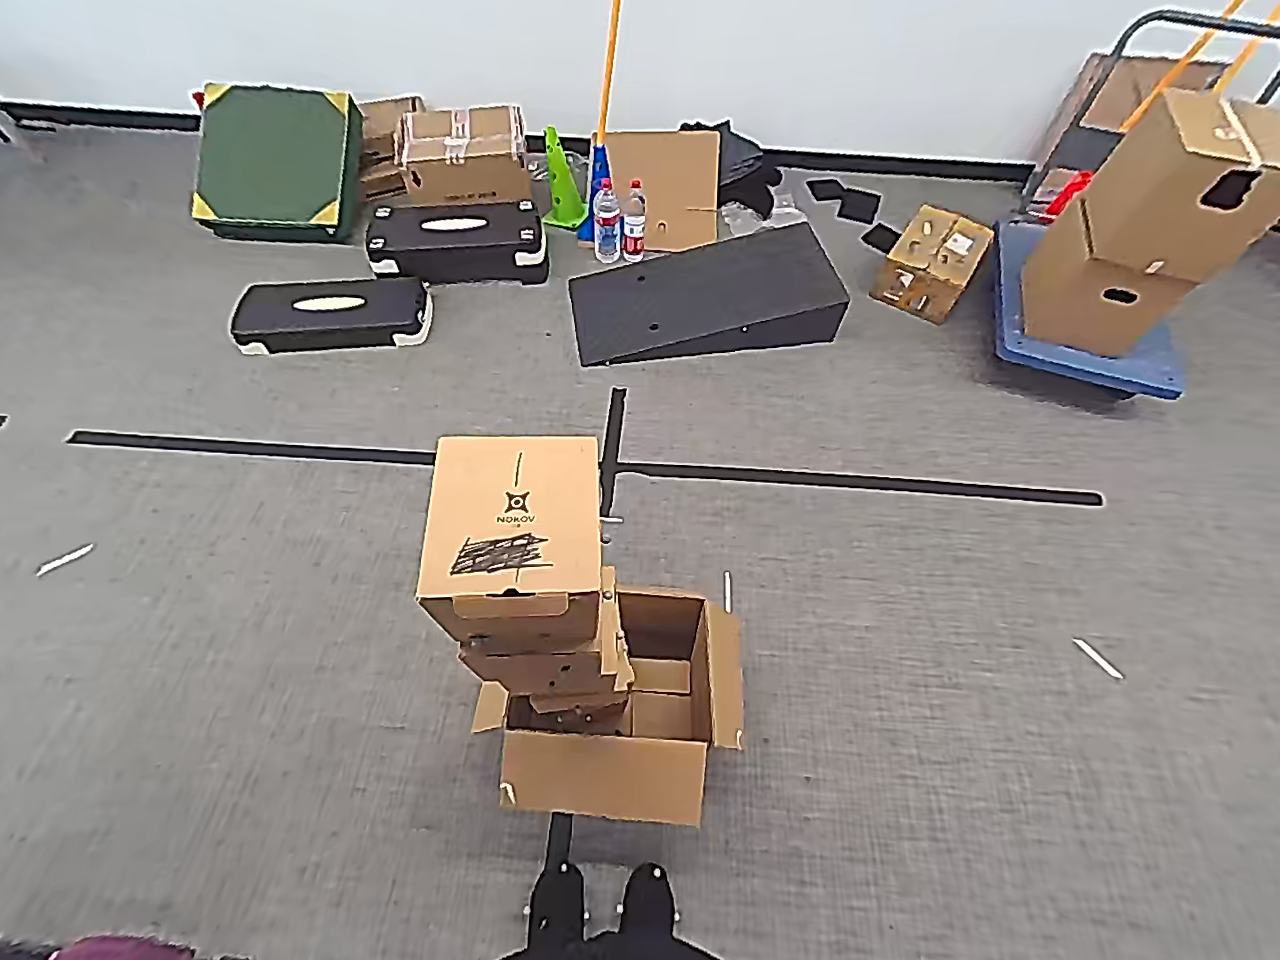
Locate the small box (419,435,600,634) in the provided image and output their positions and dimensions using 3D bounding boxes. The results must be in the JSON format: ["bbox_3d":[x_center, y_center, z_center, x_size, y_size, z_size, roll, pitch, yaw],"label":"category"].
[{"bbox_3d":[-0.127,0.068,0.597,0.168,0.176,0.179,0,61,-6],"label":"small box"}]

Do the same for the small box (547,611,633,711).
[{"bbox_3d":[-0.122,0.387,1.172,0.179,0.176,0.168,-12,62,-13],"label":"small box"}]

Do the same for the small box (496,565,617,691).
[{"bbox_3d":[-0.128,0.243,0.874,0.179,0.176,0.168,0,62,-5],"label":"small box"}]

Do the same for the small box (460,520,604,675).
[{"bbox_3d":[-0.133,0.163,0.732,0.168,0.176,0.179,1,61,-5],"label":"small box"}]
